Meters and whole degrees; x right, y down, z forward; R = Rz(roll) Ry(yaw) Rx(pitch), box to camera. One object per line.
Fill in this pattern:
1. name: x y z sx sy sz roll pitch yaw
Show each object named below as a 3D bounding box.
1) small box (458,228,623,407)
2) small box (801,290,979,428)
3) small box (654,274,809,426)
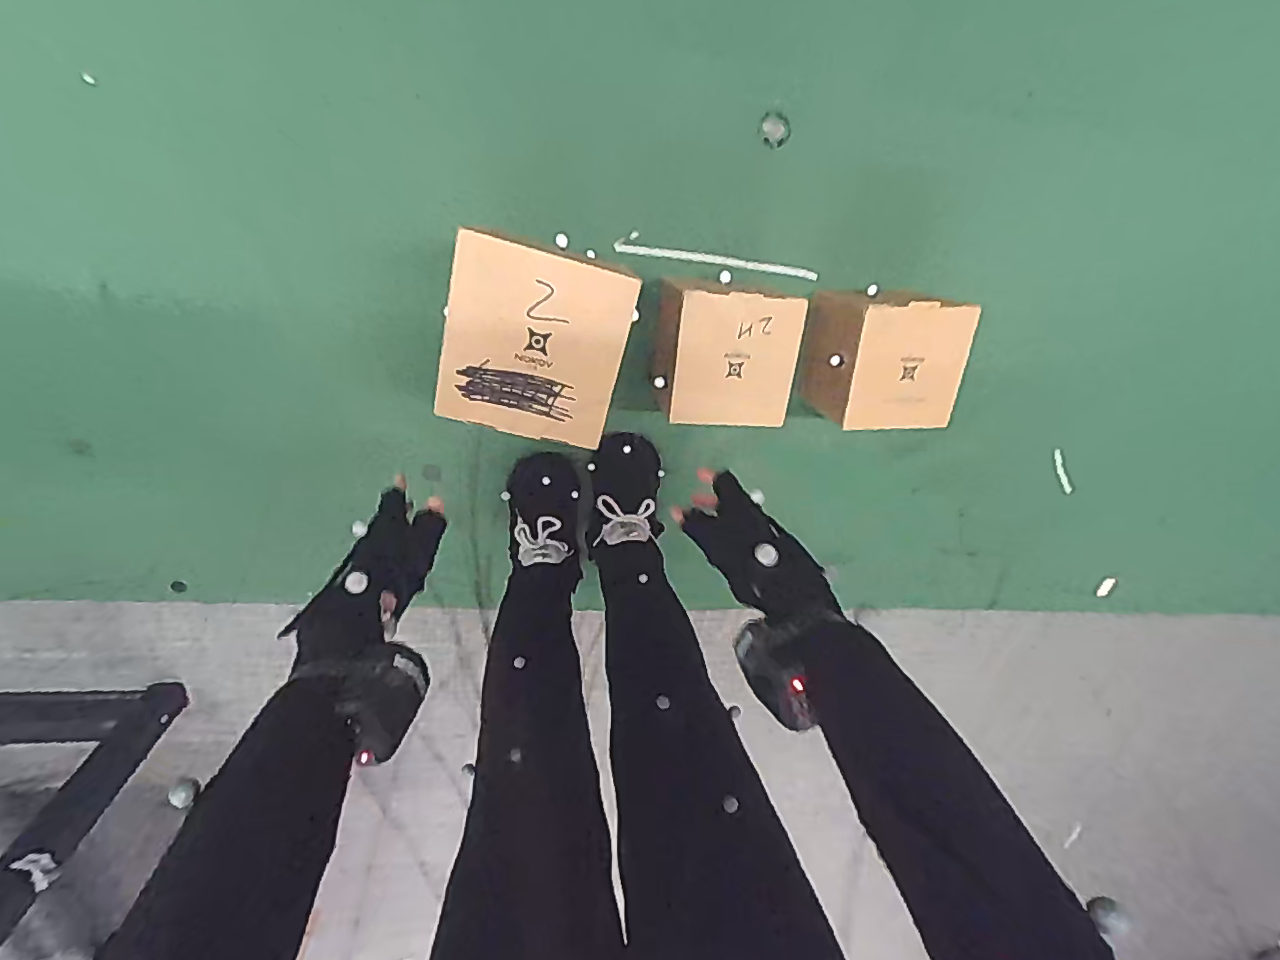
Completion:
1. small box: -0.134 -0.224 0.728 0.168 0.176 0.179 14 113 -14
2. small box: 0.362 -0.189 0.821 0.168 0.176 0.179 -1 116 -8
3. small box: 0.117 -0.192 0.781 0.168 0.176 0.179 2 115 -10
